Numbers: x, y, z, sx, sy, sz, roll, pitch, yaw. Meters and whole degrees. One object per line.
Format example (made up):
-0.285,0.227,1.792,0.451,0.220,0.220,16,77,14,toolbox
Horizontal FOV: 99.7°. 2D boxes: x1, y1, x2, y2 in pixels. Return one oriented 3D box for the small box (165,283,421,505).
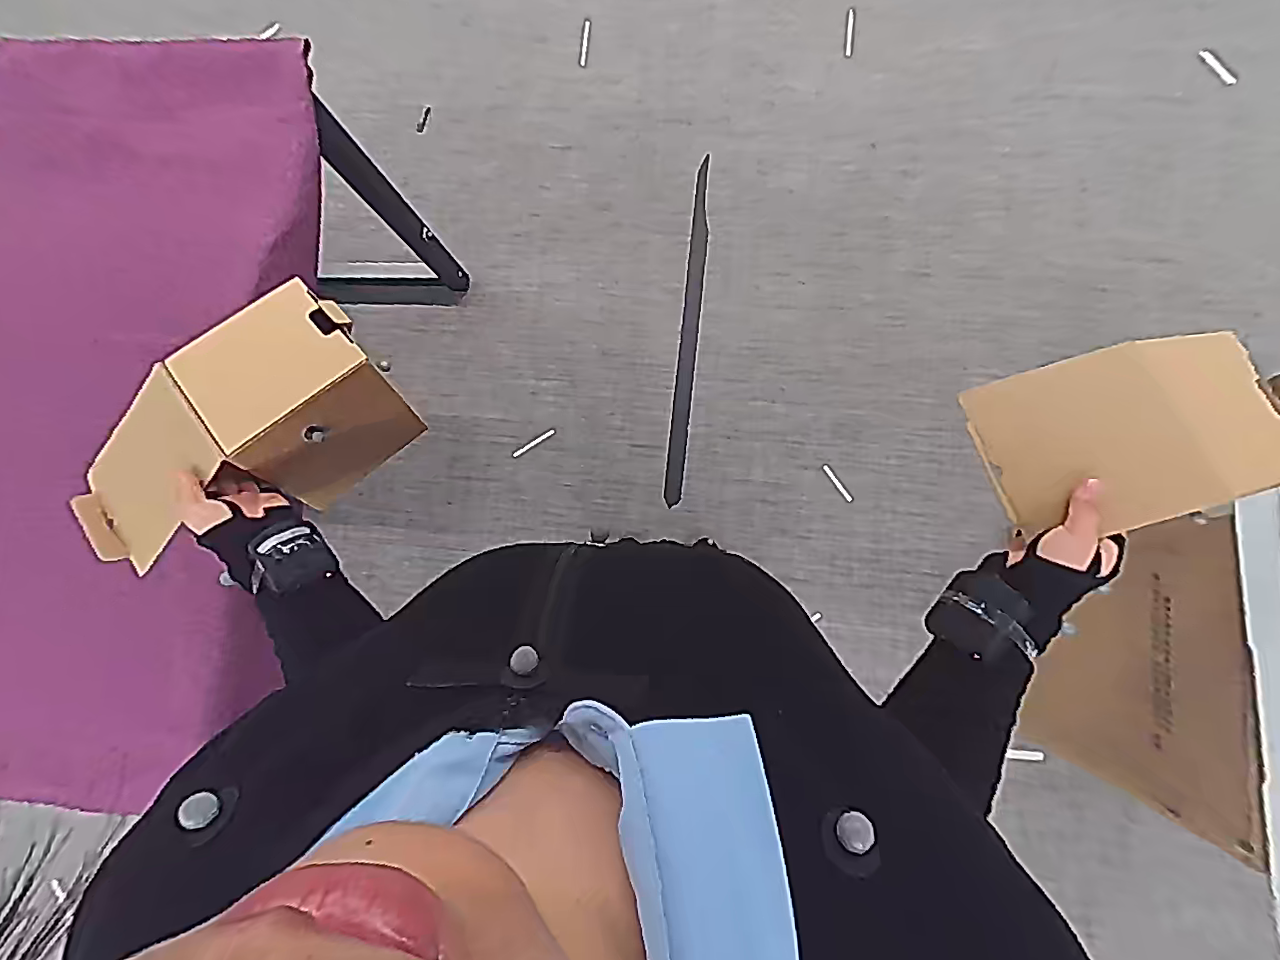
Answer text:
-0.413,-0.096,0.673,0.179,0.176,0.168,-41,71,-14,small box
